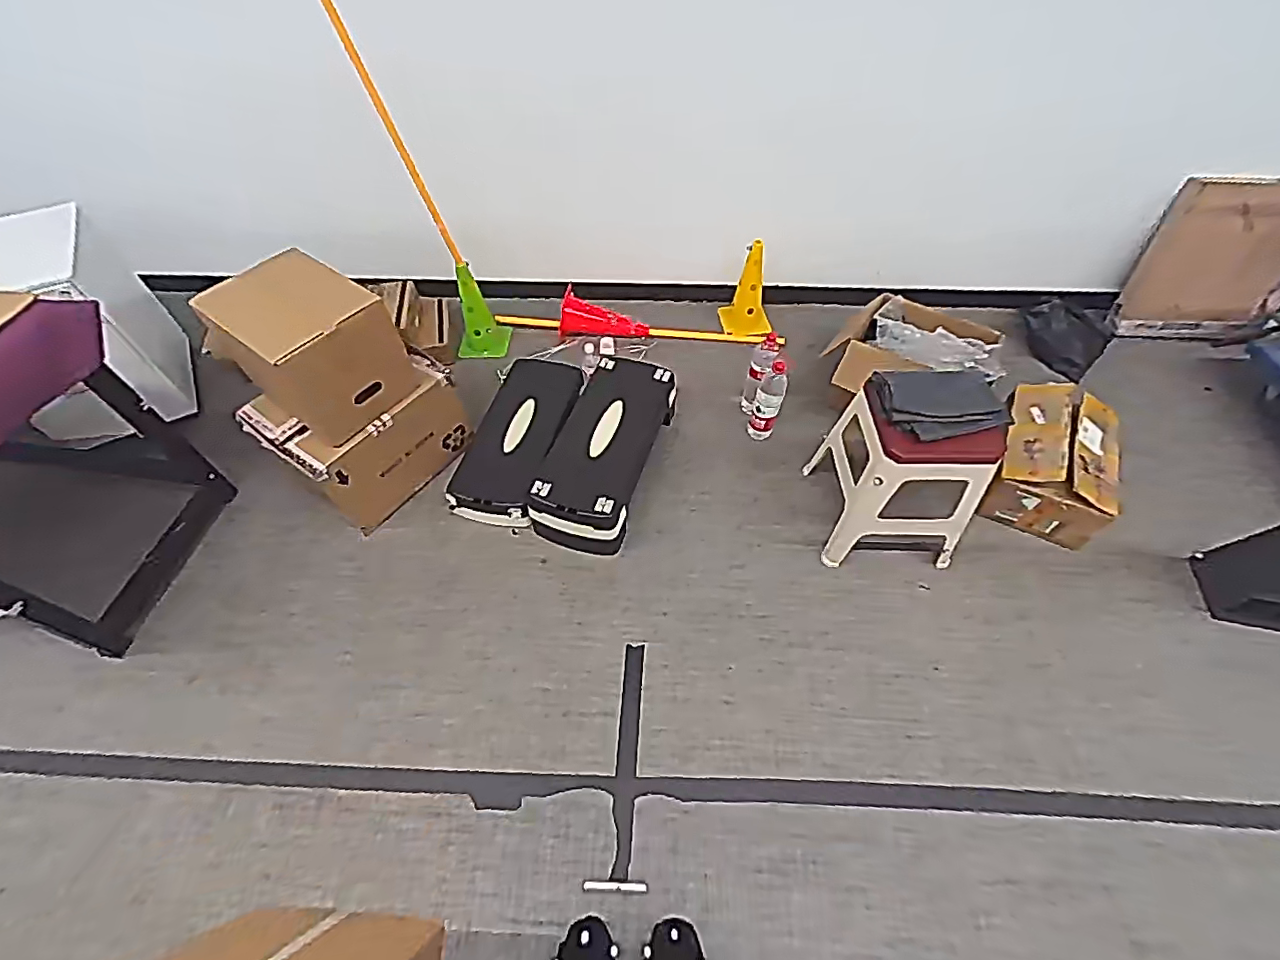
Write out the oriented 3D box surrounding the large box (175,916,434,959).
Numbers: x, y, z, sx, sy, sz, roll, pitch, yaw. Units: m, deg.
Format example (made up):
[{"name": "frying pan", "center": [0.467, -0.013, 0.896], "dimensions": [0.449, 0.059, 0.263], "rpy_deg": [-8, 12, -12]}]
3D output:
[{"name": "large box", "center": [-0.478, 0.757, 0.591], "dimensions": [0.320, 0.408, 0.320], "rpy_deg": [-1, 70, 6]}]
